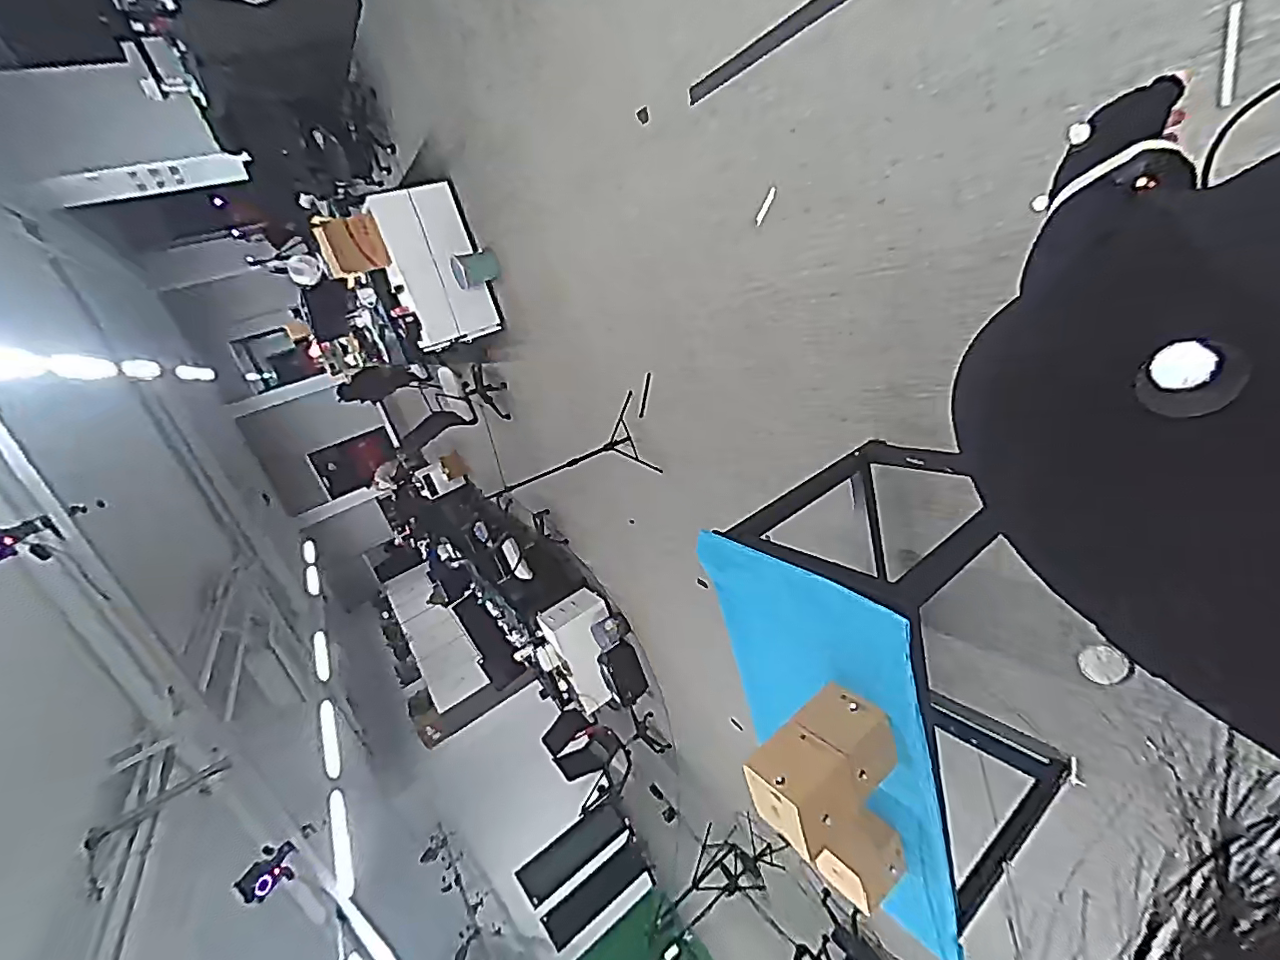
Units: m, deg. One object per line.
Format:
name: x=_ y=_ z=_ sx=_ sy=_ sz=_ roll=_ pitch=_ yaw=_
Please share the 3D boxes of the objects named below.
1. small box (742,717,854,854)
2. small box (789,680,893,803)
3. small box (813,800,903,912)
small box: x=0.369 y=0.697 z=1.253 sx=0.168 sy=0.176 sz=0.179 roll=10 pitch=123 yaw=59
small box: x=0.498 y=0.636 z=1.332 sx=0.168 sy=0.176 sz=0.179 roll=16 pitch=128 yaw=56
small box: x=0.605 y=1.033 z=1.515 sx=0.179 sy=0.176 sz=0.168 roll=17 pitch=131 yaw=54
